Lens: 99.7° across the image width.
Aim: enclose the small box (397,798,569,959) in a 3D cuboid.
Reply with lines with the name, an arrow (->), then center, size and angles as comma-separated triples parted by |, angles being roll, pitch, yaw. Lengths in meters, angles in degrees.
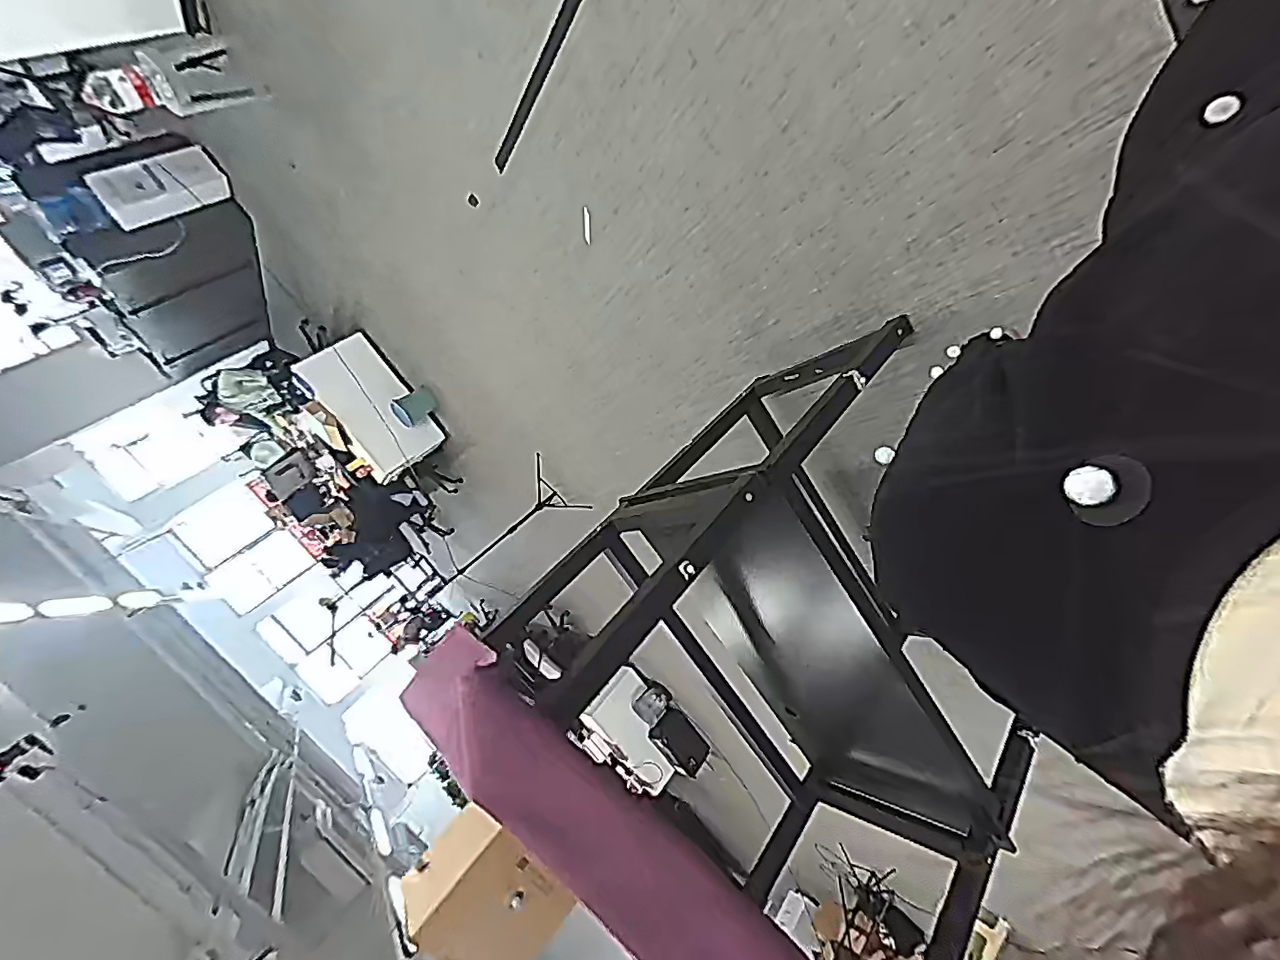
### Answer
small box -> -0.234, 0.618, 0.808 | 0.168, 0.176, 0.179 | 50, 151, -8
